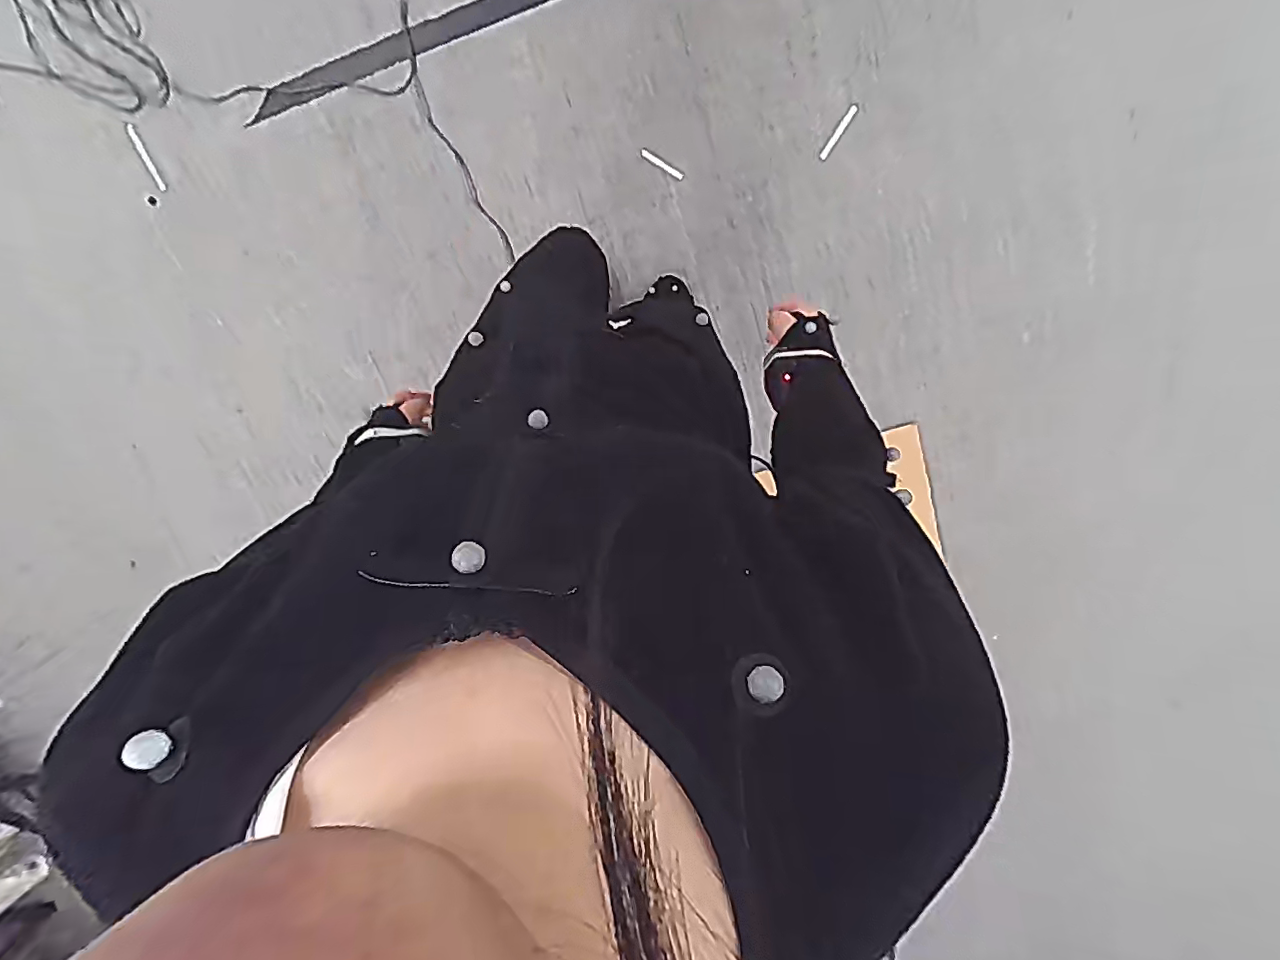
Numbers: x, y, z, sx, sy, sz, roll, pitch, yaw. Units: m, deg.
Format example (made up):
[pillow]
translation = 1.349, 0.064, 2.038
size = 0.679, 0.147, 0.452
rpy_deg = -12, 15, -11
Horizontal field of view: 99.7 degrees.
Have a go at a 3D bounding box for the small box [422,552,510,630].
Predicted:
[small box]
translation = -0.422, 0.302, 1.252
size = 0.168, 0.176, 0.179
rpy_deg = 30, 109, -9
